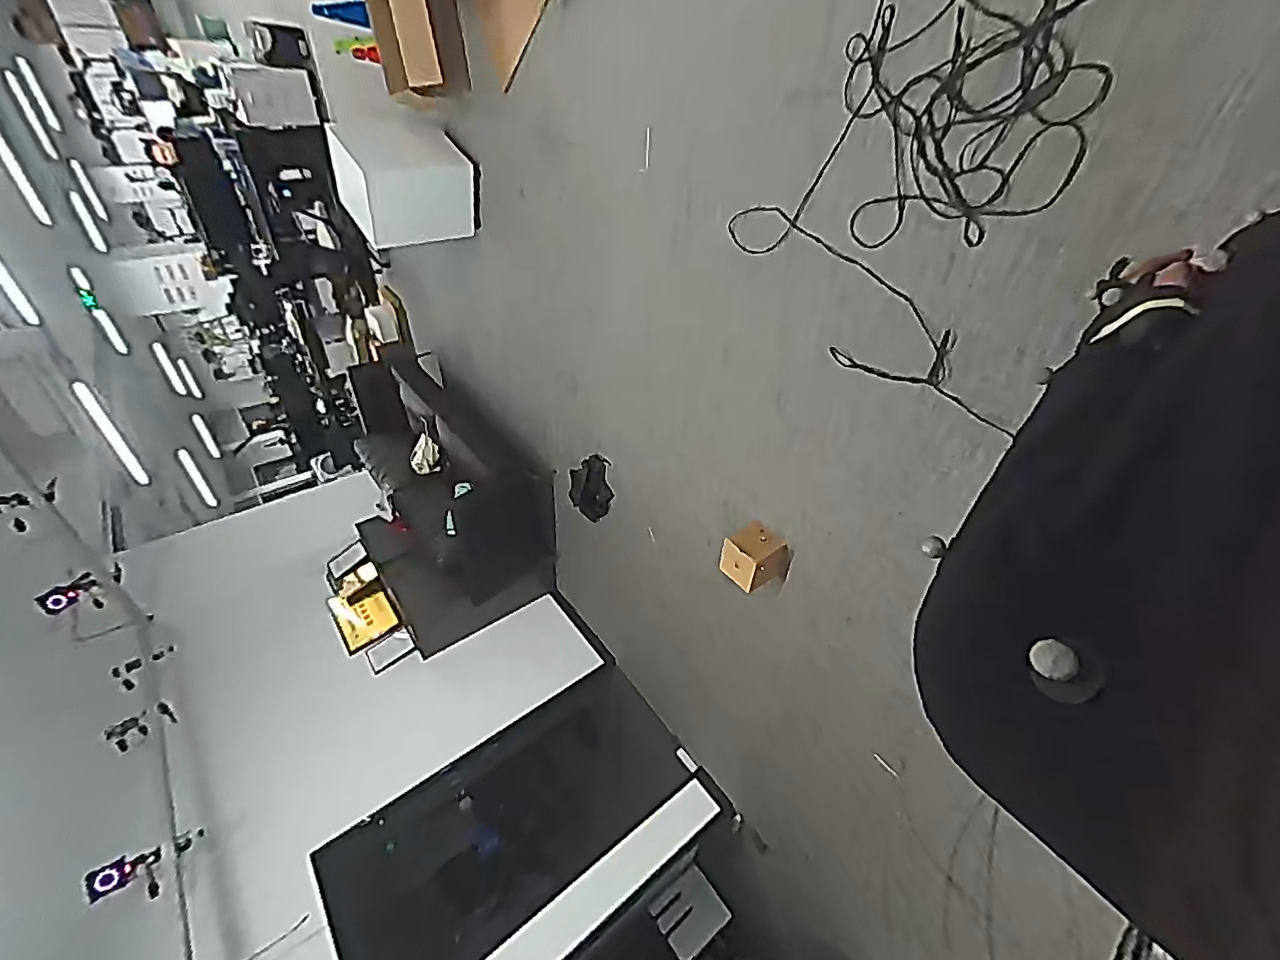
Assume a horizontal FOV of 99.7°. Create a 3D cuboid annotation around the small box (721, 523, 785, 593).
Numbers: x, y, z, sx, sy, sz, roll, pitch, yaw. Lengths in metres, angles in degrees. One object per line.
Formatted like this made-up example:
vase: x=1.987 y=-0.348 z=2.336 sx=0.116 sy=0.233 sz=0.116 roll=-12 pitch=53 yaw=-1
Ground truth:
small box: x=0.439 y=0.299 z=2.097 sx=0.168 sy=0.176 sz=0.179 roll=40 pitch=140 yaw=37
